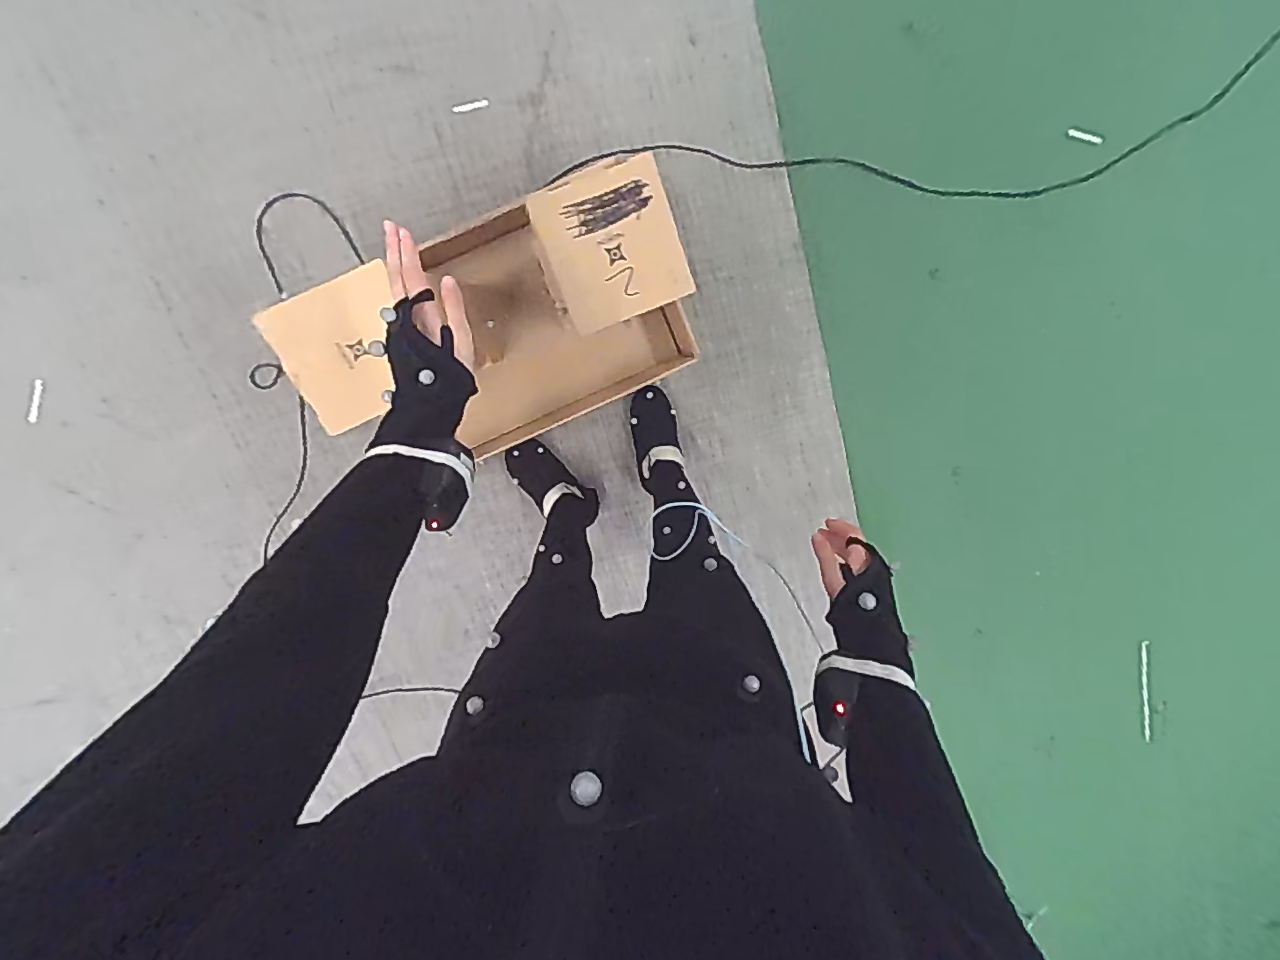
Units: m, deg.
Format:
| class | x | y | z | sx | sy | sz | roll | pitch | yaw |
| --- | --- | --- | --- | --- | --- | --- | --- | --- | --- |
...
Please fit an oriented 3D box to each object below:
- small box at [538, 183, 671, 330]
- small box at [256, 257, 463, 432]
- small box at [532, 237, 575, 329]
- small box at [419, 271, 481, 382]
| class | x | y | z | sx | sy | sz | roll | pitch | yaw |
| --- | --- | --- | --- | --- | --- | --- | --- | --- | --- |
| small box | -0.060 | -0.363 | 0.907 | 0.168 | 0.176 | 0.179 | -20 | 106 | -3 |
| small box | -0.362 | -0.189 | 0.746 | 0.179 | 0.176 | 0.168 | -24 | 109 | 0 |
| small box | -0.096 | -0.402 | 1.063 | 0.179 | 0.176 | 0.168 | -20 | 107 | -1 |
| small box | -0.385 | -0.233 | 0.900 | 0.179 | 0.176 | 0.168 | -20 | 108 | -3 |
